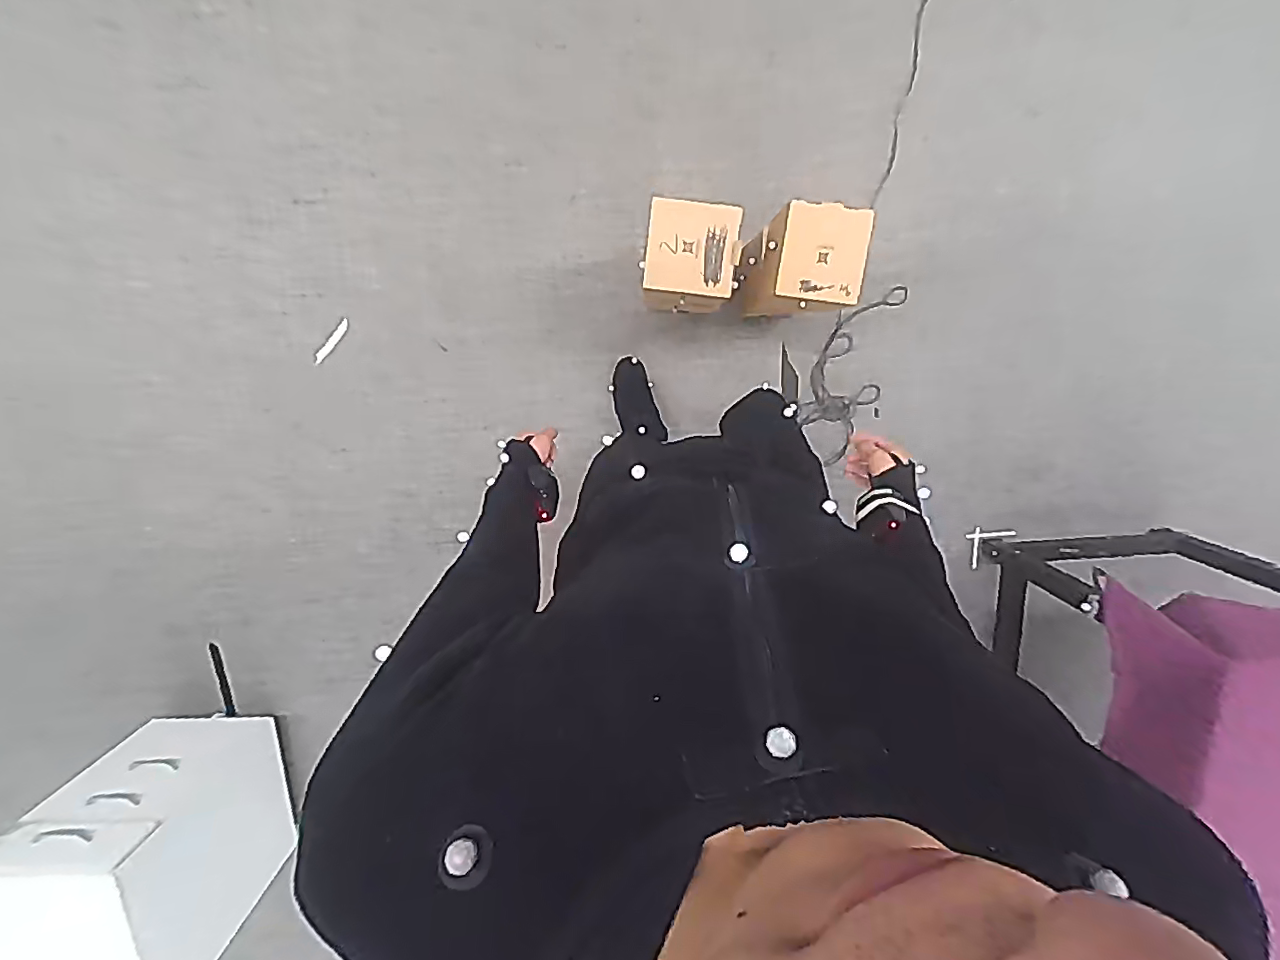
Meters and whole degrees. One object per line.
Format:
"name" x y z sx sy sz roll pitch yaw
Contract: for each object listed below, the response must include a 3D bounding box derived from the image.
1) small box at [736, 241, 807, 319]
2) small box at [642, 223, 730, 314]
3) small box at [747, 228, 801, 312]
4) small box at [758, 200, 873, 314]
"small box" 0.352 -0.527 1.436 0.168 0.176 0.179 -2 103 0
"small box" 0.101 -0.489 1.272 0.179 0.176 0.168 7 103 -1
"small box" 0.354 -0.490 1.279 0.179 0.176 0.168 0 103 0
"small box" 0.353 -0.451 1.119 0.168 0.176 0.179 7 102 -2
